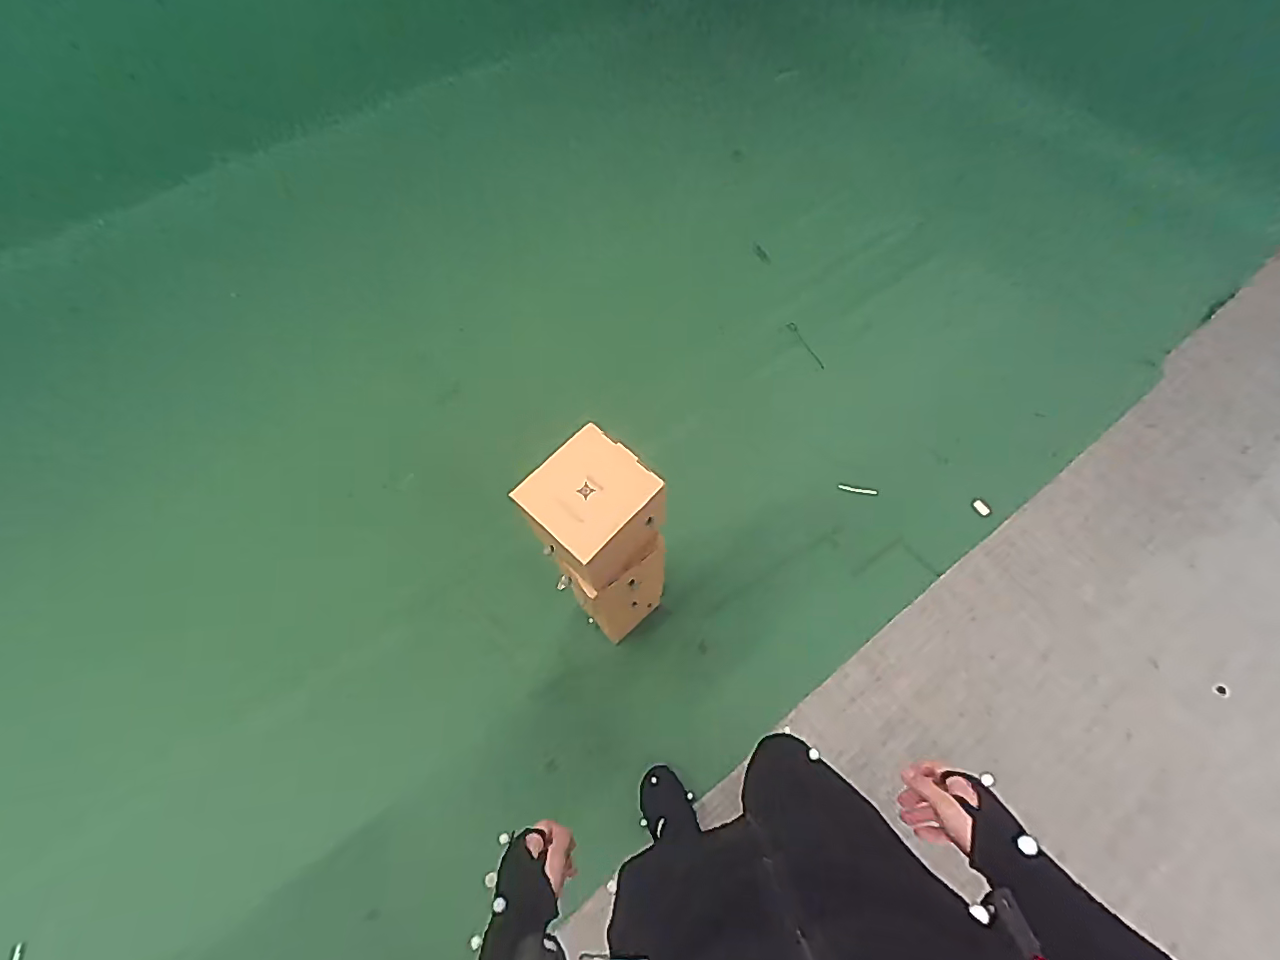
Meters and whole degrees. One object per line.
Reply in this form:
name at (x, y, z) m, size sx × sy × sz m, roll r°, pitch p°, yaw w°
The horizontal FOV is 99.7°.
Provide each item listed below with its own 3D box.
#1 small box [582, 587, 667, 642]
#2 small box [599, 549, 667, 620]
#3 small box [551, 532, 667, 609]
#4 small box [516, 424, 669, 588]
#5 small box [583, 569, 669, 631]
small box at (-0.047, 0.318, 1.481) m, size 0.179 × 0.176 × 0.168 m, roll -38°, pitch 69°, yaw -16°
small box at (-0.056, 0.182, 1.185) m, size 0.179 × 0.176 × 0.168 m, roll -39°, pitch 70°, yaw -16°
small box at (-0.065, 0.129, 1.030) m, size 0.168 × 0.176 × 0.179 m, roll -35°, pitch 70°, yaw -14°
small box at (-0.071, 0.048, 0.888) m, size 0.168 × 0.176 × 0.179 m, roll 40°, pitch 73°, yaw 19°
small box at (-0.049, 0.247, 1.335) m, size 0.179 × 0.176 × 0.168 m, roll -37°, pitch 69°, yaw -15°
